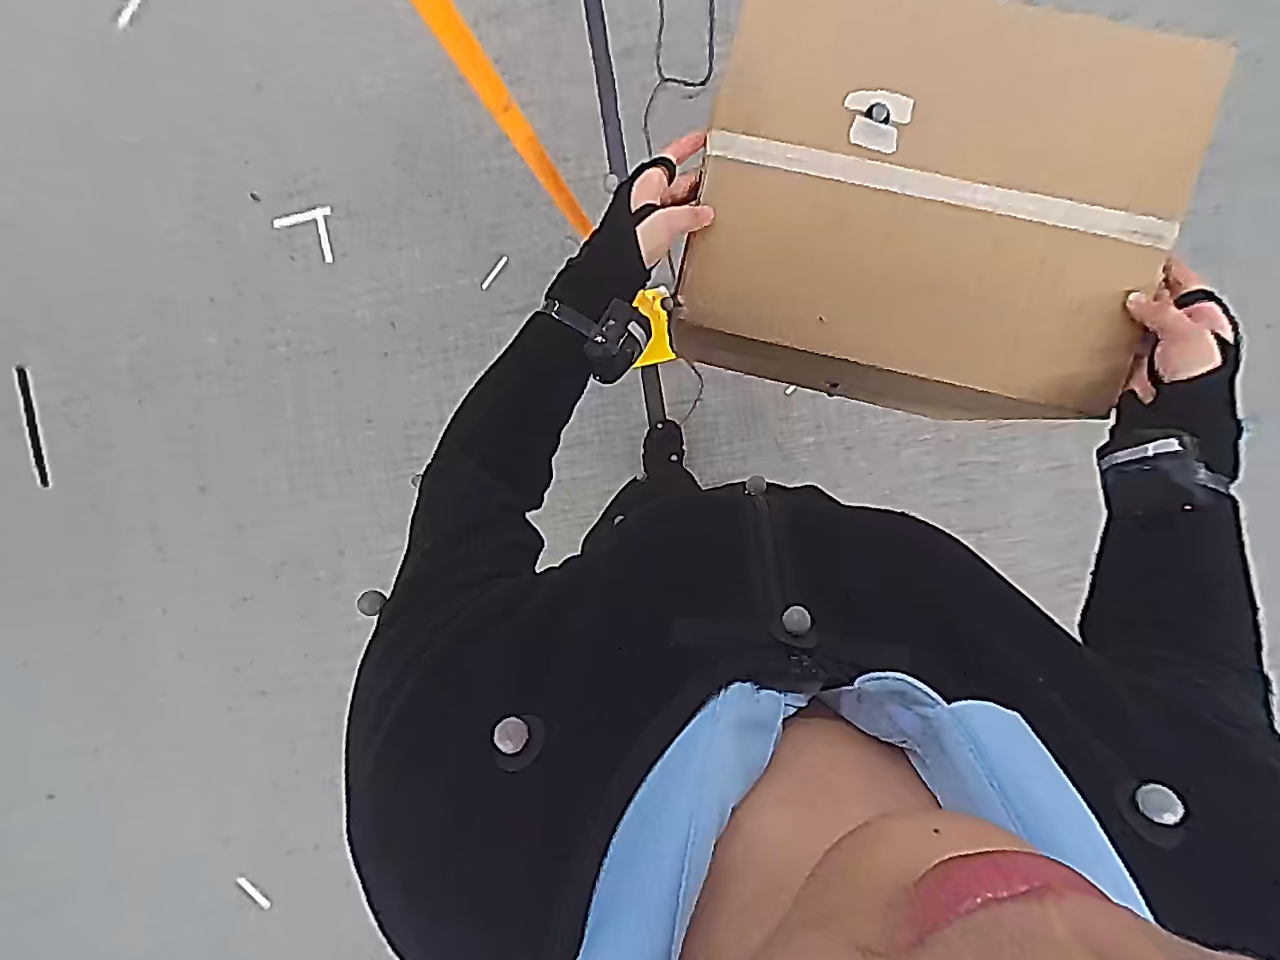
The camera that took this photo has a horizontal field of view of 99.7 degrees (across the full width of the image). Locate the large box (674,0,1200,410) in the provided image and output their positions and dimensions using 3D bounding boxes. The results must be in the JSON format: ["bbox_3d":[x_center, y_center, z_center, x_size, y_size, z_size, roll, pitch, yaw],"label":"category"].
[{"bbox_3d":[0.270,-0.272,0.637,0.408,0.320,0.320,13,95,3],"label":"large box"}]
